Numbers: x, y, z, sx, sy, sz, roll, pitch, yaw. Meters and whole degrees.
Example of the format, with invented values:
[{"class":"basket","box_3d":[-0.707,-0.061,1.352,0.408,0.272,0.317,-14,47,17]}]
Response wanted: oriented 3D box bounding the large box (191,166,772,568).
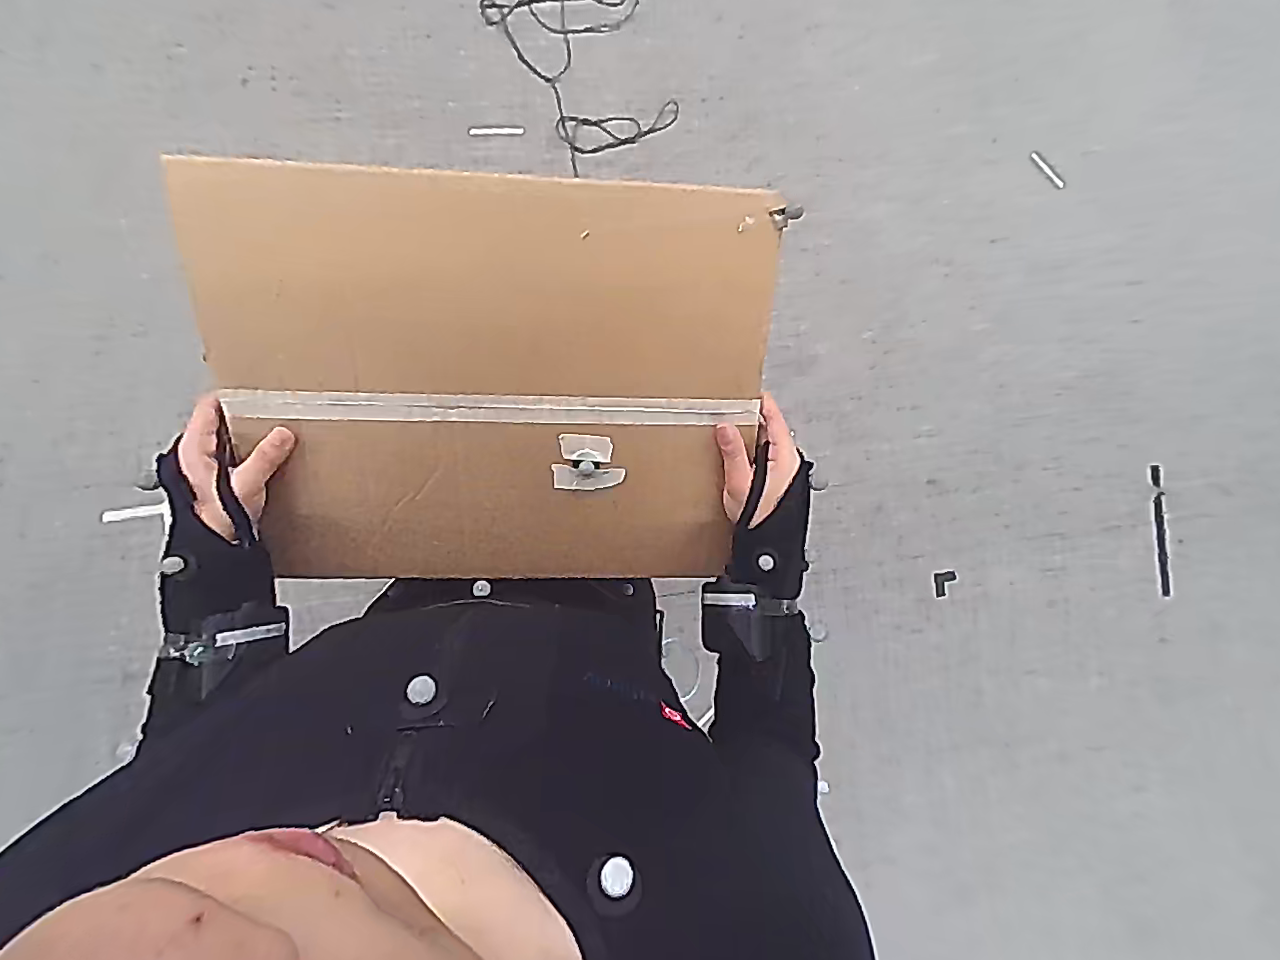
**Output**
[{"class":"large box","box_3d":[-0.119,-0.125,0.567,0.408,0.320,0.320,0,115,-6]}]
